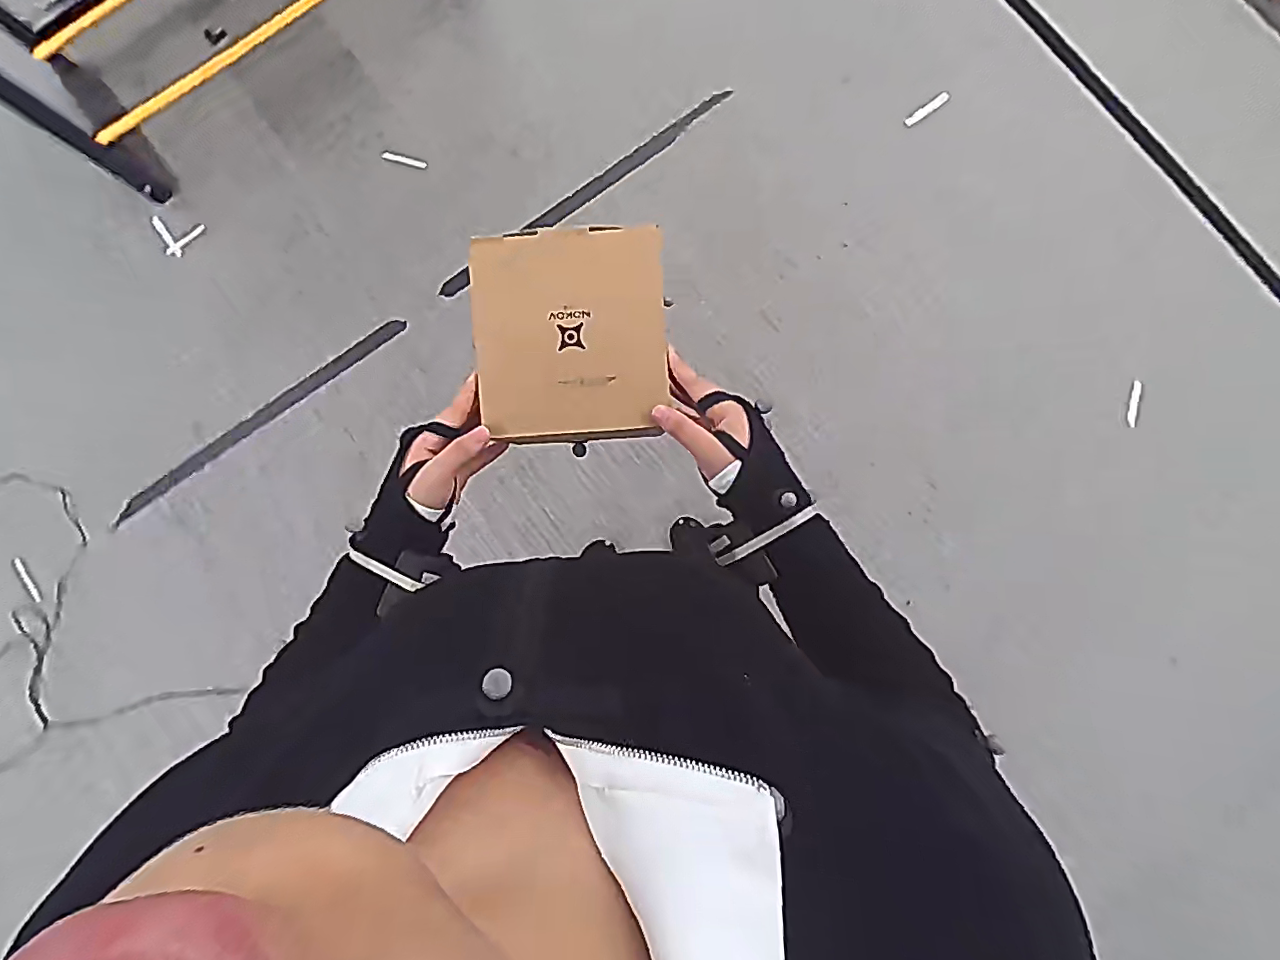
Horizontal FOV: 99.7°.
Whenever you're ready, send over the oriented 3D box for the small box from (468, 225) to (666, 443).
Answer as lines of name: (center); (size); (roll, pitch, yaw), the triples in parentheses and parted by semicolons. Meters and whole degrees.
small box: (-0.065, -0.132, 0.548); (0.168, 0.176, 0.179); (-4, 92, 0)
